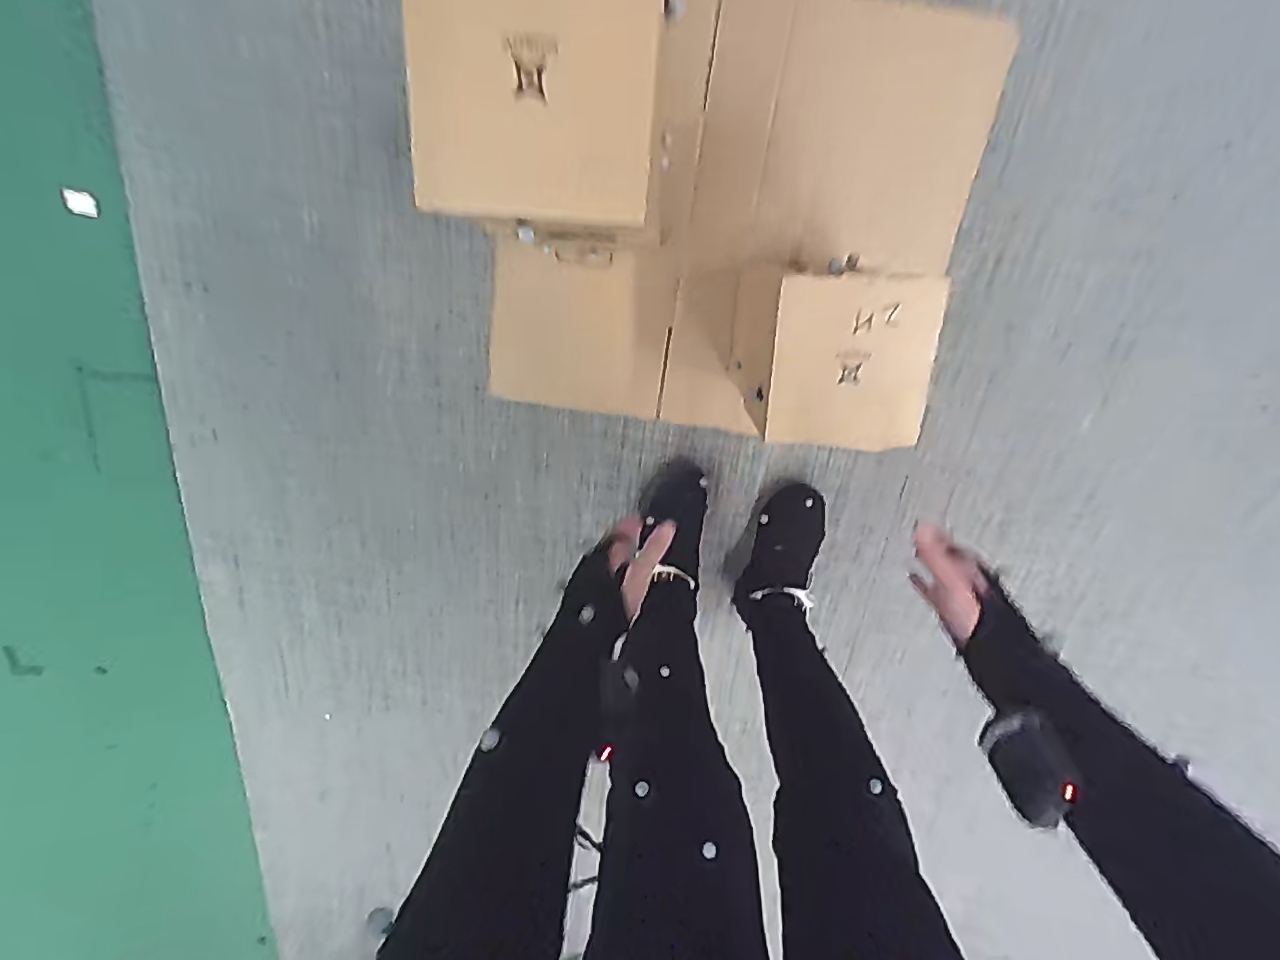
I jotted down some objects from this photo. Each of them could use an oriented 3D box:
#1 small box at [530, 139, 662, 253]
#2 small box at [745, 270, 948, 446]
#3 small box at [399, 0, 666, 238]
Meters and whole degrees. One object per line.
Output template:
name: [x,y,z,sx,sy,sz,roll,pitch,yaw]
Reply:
small box: [-0.055,-0.406,0.732,0.168,0.176,0.179,1,111,3]
small box: [0.220,-0.149,0.632,0.168,0.176,0.179,2,111,2]
small box: [-0.069,-0.294,0.427,0.168,0.176,0.179,5,110,2]
